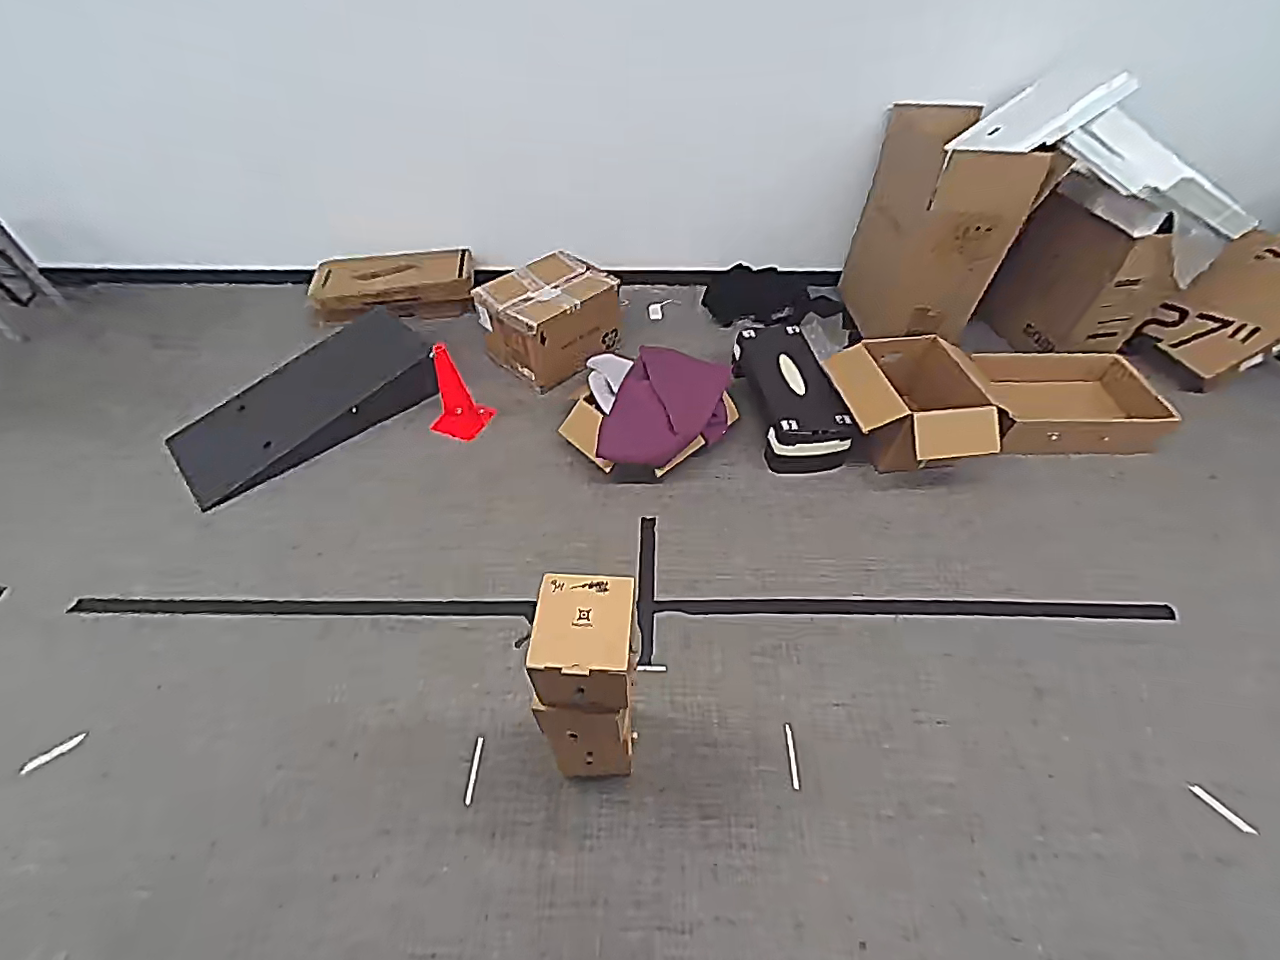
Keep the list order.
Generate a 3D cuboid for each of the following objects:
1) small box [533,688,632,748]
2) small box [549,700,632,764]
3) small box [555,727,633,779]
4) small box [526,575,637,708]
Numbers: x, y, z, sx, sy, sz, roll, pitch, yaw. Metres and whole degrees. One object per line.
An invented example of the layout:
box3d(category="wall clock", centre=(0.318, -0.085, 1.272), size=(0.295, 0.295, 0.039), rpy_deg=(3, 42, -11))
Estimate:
box3d(category="small box", centre=(-0.103, 0.410, 1.076), size=(0.168, 0.176, 0.179), rpy_deg=(4, 50, 5))
box3d(category="small box", centre=(-0.102, 0.512, 1.202), size=(0.168, 0.176, 0.179), rpy_deg=(1, 49, 1))
box3d(category="small box", centre=(-0.107, 0.622, 1.325), size=(0.179, 0.176, 0.168), rpy_deg=(-2, 49, -2))
box3d(category="small box", centre=(-0.093, 0.291, 0.963), size=(0.168, 0.176, 0.179), rpy_deg=(2, 49, 3))
